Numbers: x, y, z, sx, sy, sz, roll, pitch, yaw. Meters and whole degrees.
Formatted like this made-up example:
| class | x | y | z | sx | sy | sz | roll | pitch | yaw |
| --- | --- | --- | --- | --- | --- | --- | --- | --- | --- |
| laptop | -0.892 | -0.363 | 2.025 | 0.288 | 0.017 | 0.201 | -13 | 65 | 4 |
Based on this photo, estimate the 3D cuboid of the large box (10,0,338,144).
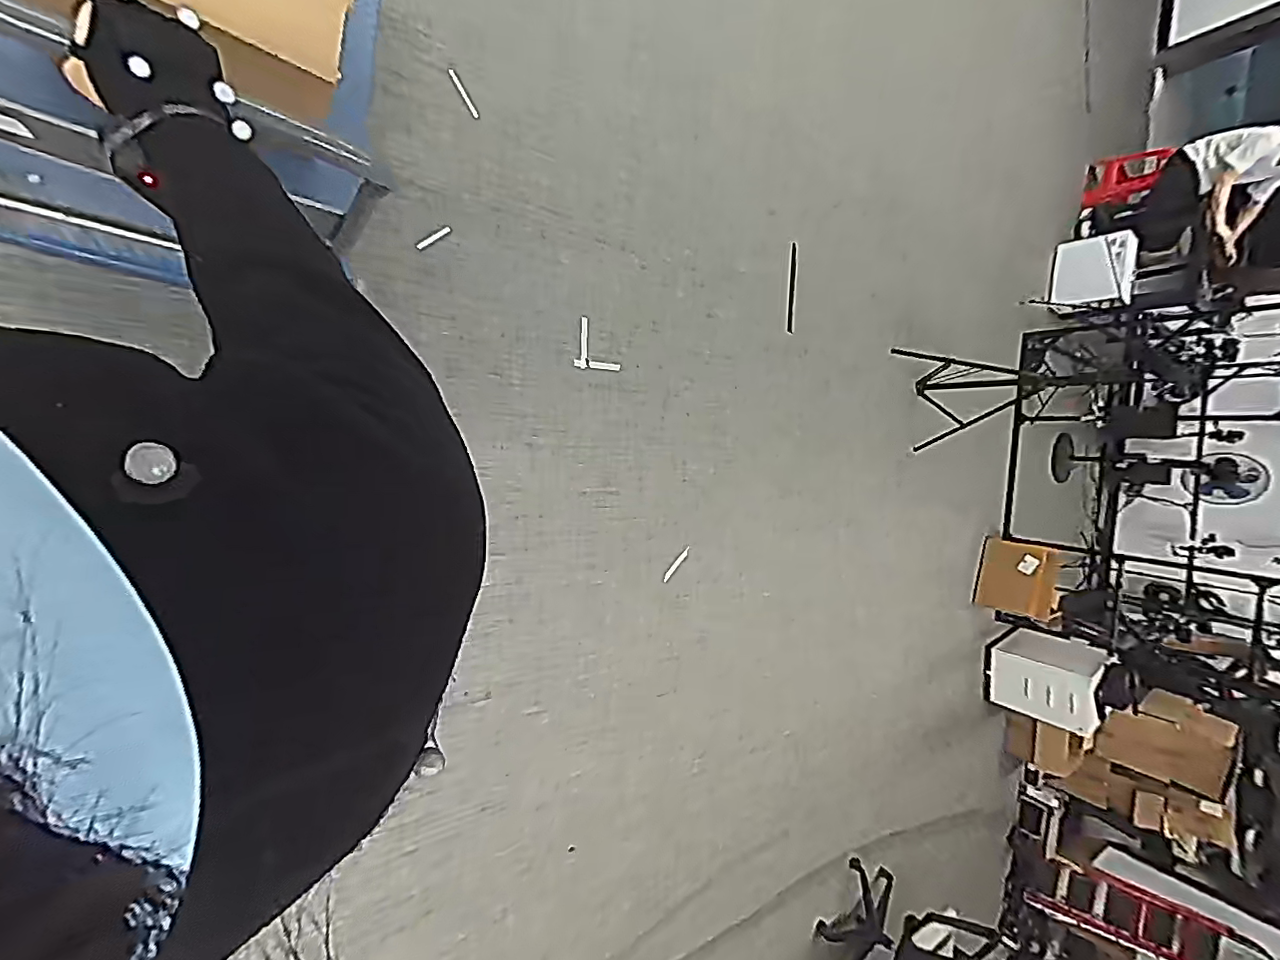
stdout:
| class | x | y | z | sx | sy | sz | roll | pitch | yaw |
| --- | --- | --- | --- | --- | --- | --- | --- | --- | --- |
| large box | -0.726 | -0.835 | 0.870 | 0.408 | 0.320 | 0.320 | 7 | 90 | -36 |
